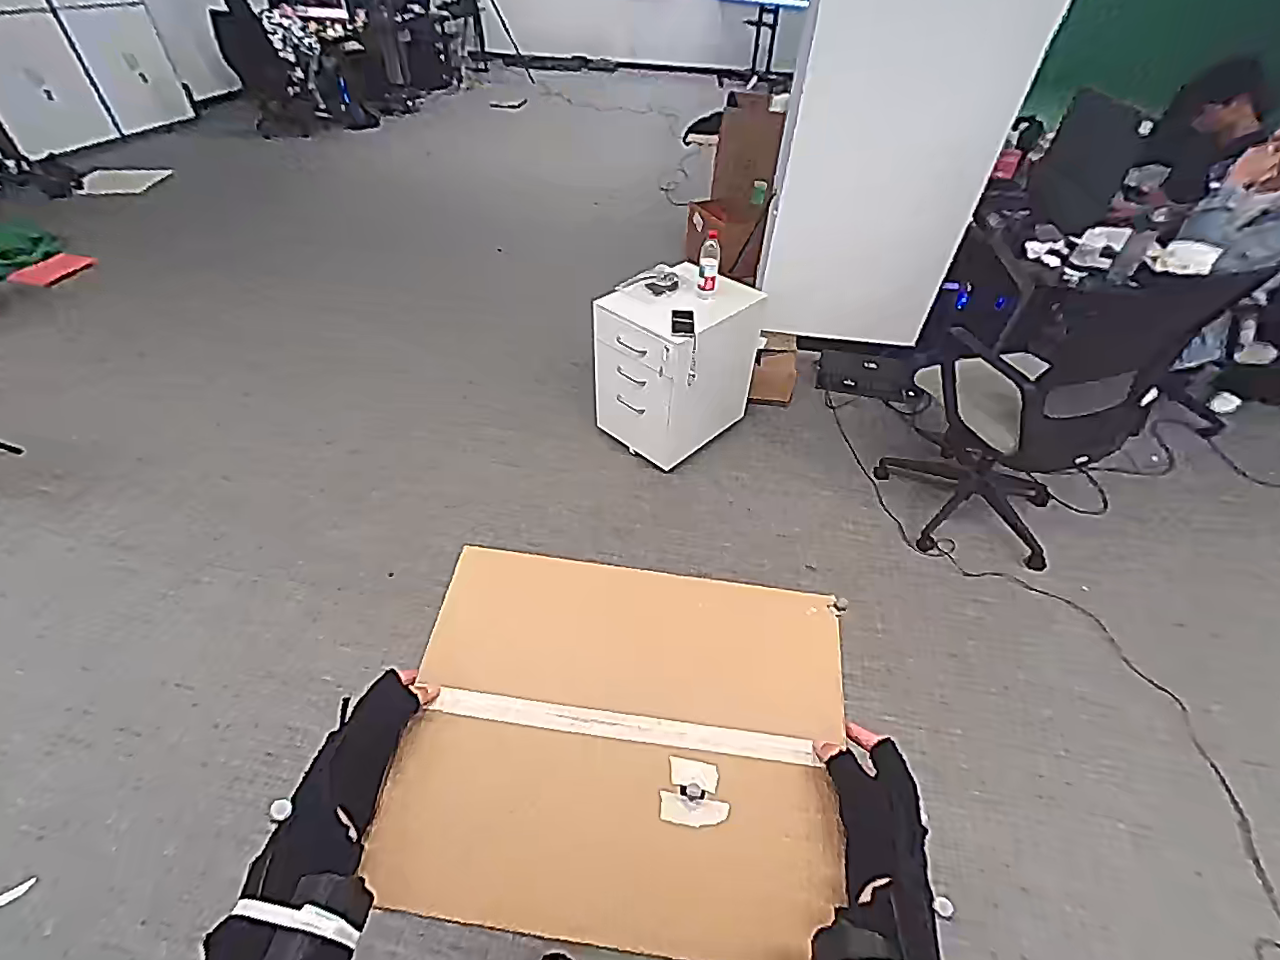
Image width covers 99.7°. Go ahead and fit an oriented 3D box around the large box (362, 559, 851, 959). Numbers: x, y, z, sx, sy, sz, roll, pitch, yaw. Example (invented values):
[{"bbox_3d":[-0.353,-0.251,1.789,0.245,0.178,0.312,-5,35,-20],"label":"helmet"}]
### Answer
[{"bbox_3d":[-0.020,0.317,0.635,0.408,0.320,0.320,8,57,2],"label":"large box"}]
